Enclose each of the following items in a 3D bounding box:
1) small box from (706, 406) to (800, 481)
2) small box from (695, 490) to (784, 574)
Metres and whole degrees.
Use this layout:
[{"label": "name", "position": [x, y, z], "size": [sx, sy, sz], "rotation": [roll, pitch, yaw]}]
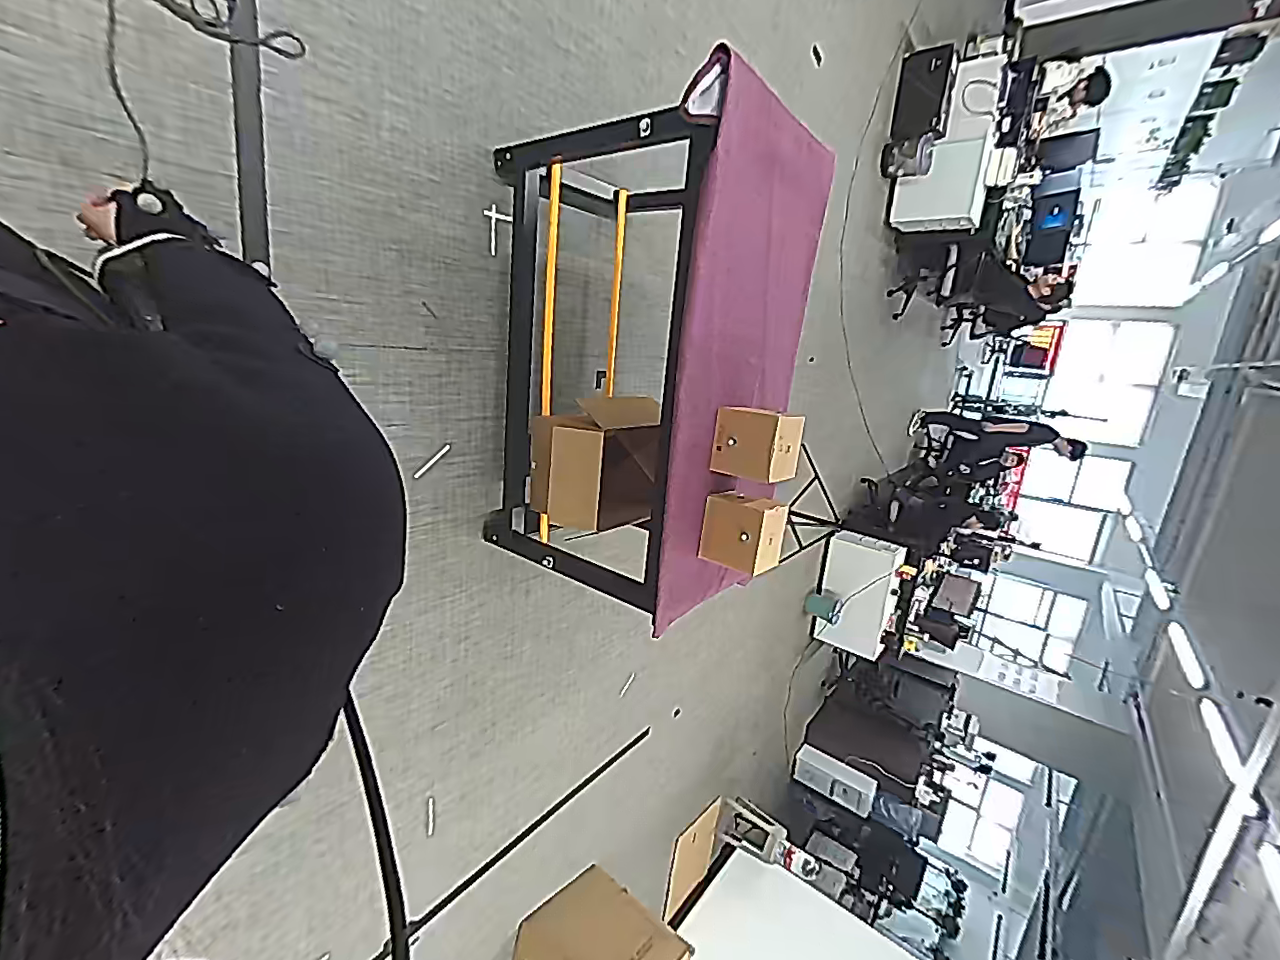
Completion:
[{"label": "small box", "position": [0.294, -0.100, 1.411], "size": [0.179, 0.176, 0.168], "rotation": [-8, 108, -53]}, {"label": "small box", "position": [0.265, 0.133, 1.461], "size": [0.168, 0.176, 0.179], "rotation": [-5, 106, -54]}]
